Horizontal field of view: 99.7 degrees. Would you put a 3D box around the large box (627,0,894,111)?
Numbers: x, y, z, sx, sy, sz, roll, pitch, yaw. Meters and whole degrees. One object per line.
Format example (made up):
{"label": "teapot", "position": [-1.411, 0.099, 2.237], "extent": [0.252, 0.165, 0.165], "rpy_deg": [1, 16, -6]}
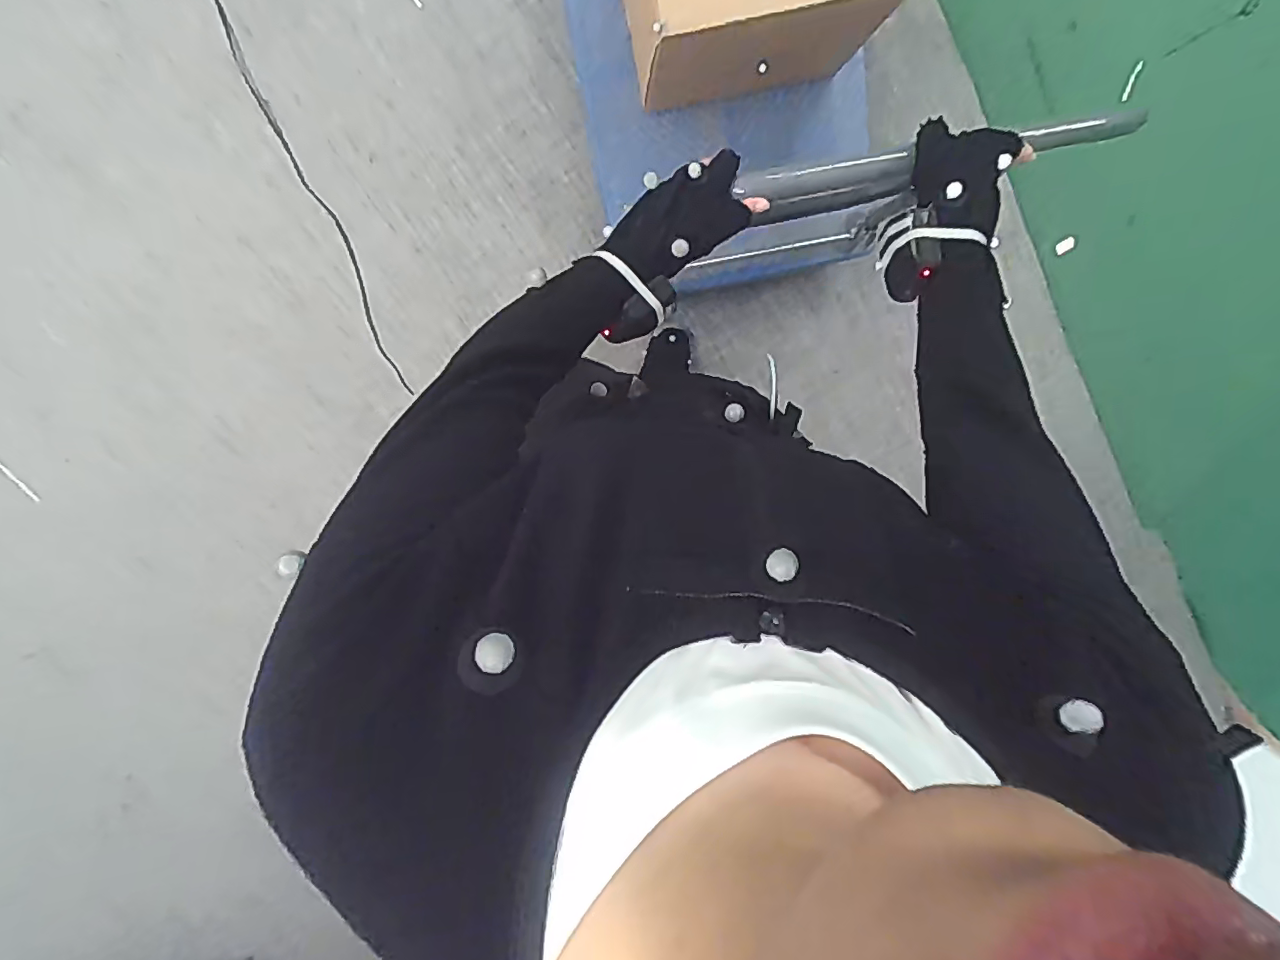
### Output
{"label": "large box", "position": [0.185, -0.895, 0.920], "extent": [0.408, 0.320, 0.320], "rpy_deg": [-13, 106, 1]}
